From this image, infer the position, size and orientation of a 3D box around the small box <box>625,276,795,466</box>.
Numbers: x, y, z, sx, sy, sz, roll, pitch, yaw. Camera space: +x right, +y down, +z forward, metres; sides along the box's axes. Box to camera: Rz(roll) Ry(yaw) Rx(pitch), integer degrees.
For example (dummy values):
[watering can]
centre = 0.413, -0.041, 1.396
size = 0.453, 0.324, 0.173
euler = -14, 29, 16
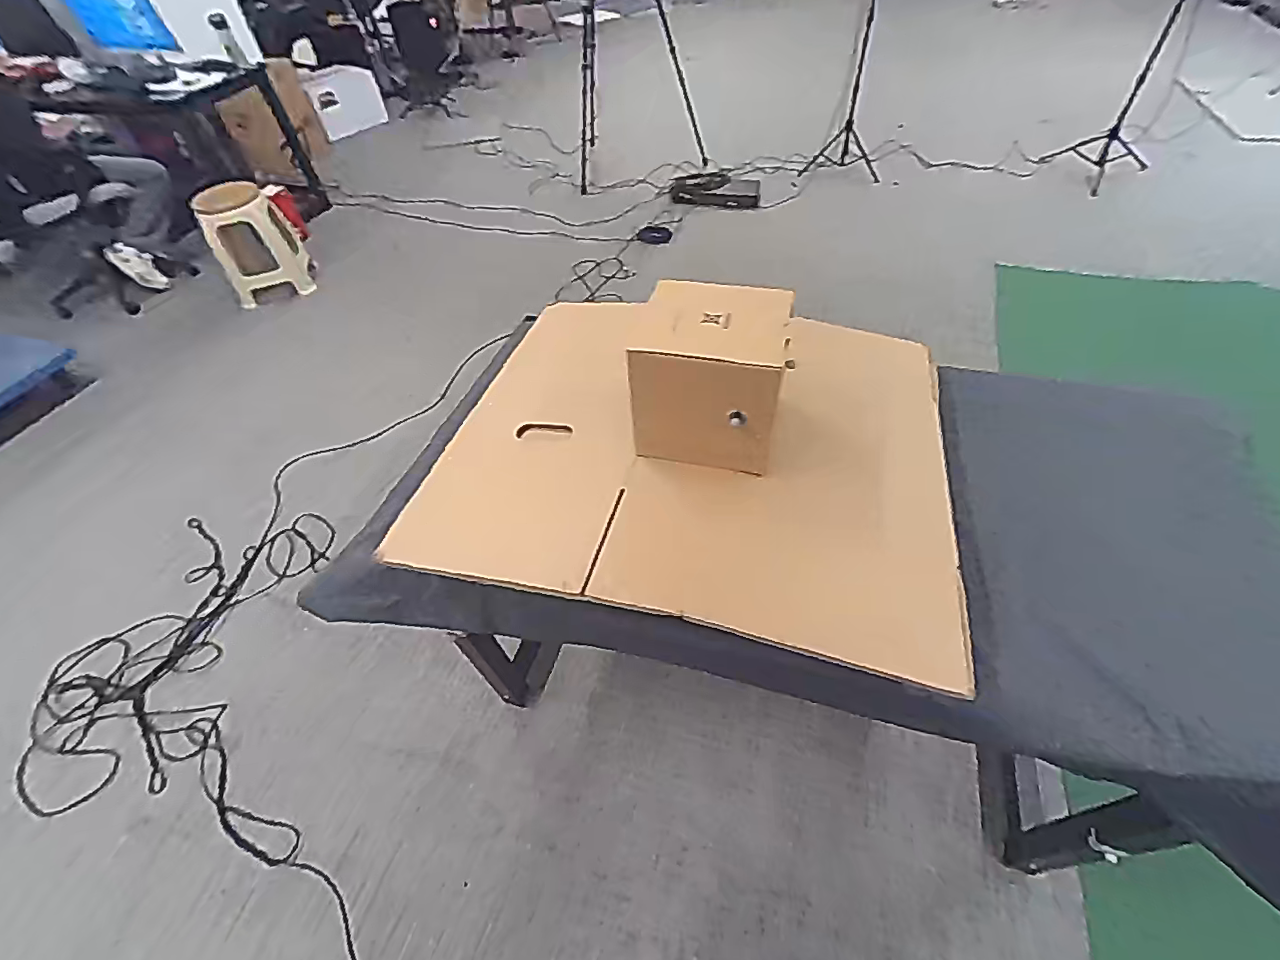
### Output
[small box]
centre = 0.091, -0.137, 0.692
size = 0.179, 0.176, 0.168
euler = 9, 49, 12
